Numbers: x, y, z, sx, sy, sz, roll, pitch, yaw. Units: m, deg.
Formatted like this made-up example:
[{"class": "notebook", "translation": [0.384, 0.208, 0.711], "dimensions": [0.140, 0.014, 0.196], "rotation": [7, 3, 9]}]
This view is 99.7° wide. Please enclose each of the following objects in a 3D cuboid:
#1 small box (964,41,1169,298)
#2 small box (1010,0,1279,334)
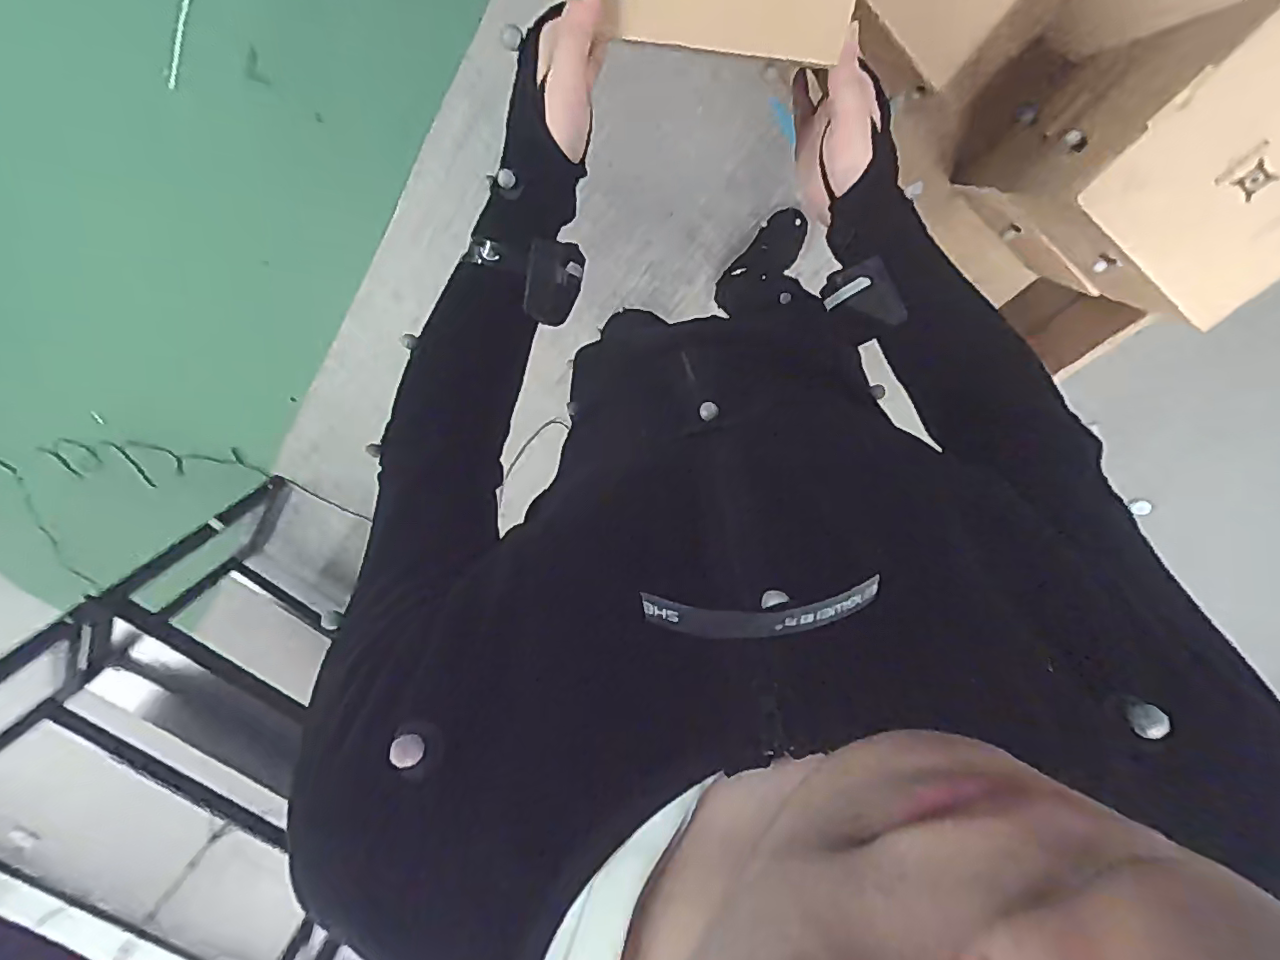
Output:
[{"class": "small box", "translation": [0.516, -0.341, 0.620], "dimensions": [0.179, 0.176, 0.168], "rotation": [39, 121, -9]}, {"class": "small box", "translation": [0.480, -0.264, 0.480], "dimensions": [0.179, 0.176, 0.168], "rotation": [38, 121, -9]}]
